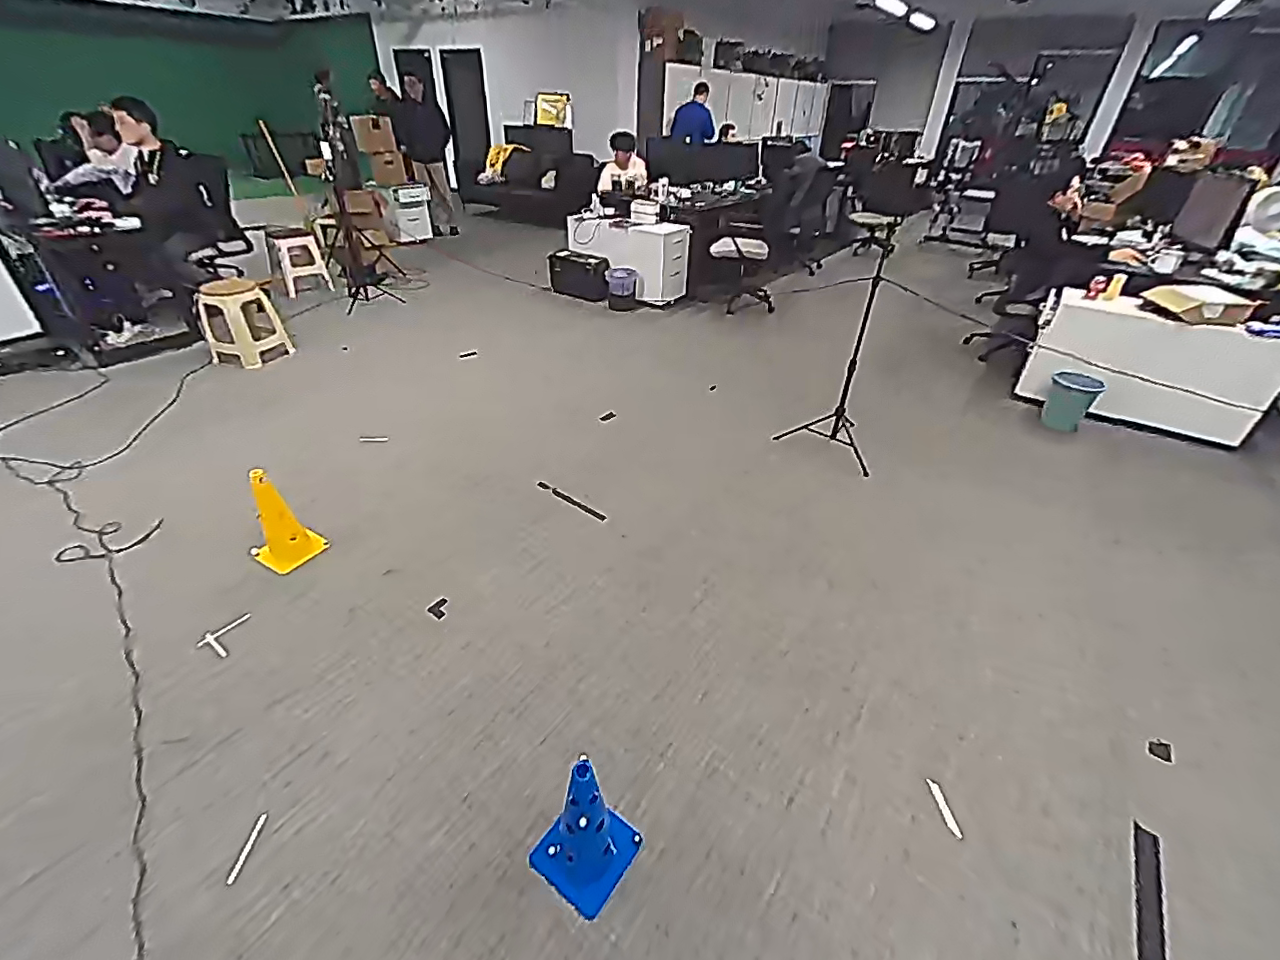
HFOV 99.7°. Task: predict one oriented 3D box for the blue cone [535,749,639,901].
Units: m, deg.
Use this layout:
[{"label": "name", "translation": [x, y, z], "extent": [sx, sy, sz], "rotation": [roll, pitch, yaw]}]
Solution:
[{"label": "blue cone", "translation": [-0.117, 0.705, 1.162], "extent": [0.193, 0.380, 0.192], "rotation": [25, 40, 29]}]
